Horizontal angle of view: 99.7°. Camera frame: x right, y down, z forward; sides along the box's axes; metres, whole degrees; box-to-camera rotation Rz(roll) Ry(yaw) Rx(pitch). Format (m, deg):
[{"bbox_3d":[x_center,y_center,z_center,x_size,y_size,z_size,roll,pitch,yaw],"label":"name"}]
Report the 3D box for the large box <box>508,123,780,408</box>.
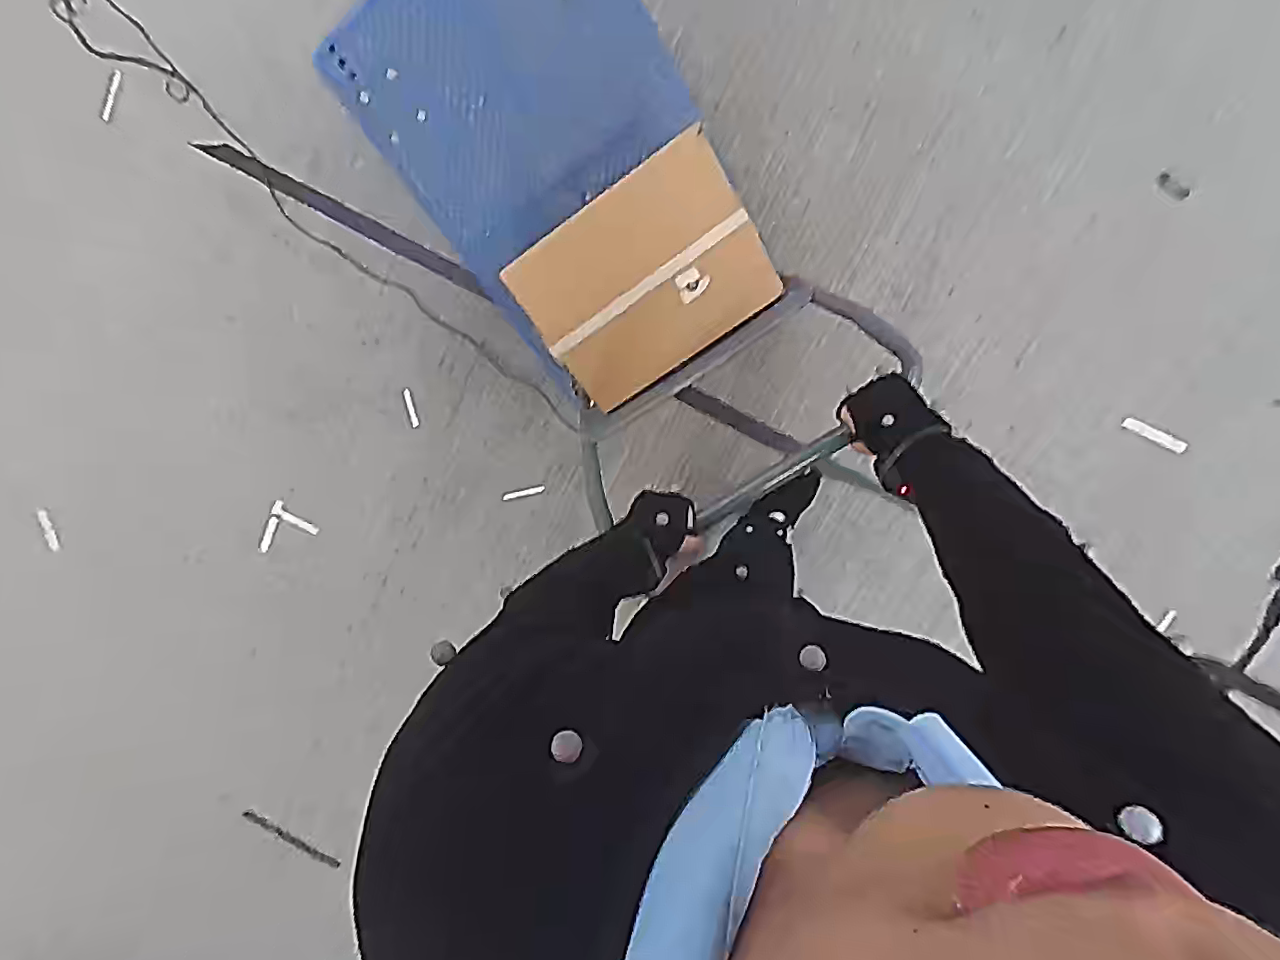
[{"bbox_3d":[-0.002,-0.419,1.097,0.408,0.320,0.320,-34,115,10],"label":"large box"}]
